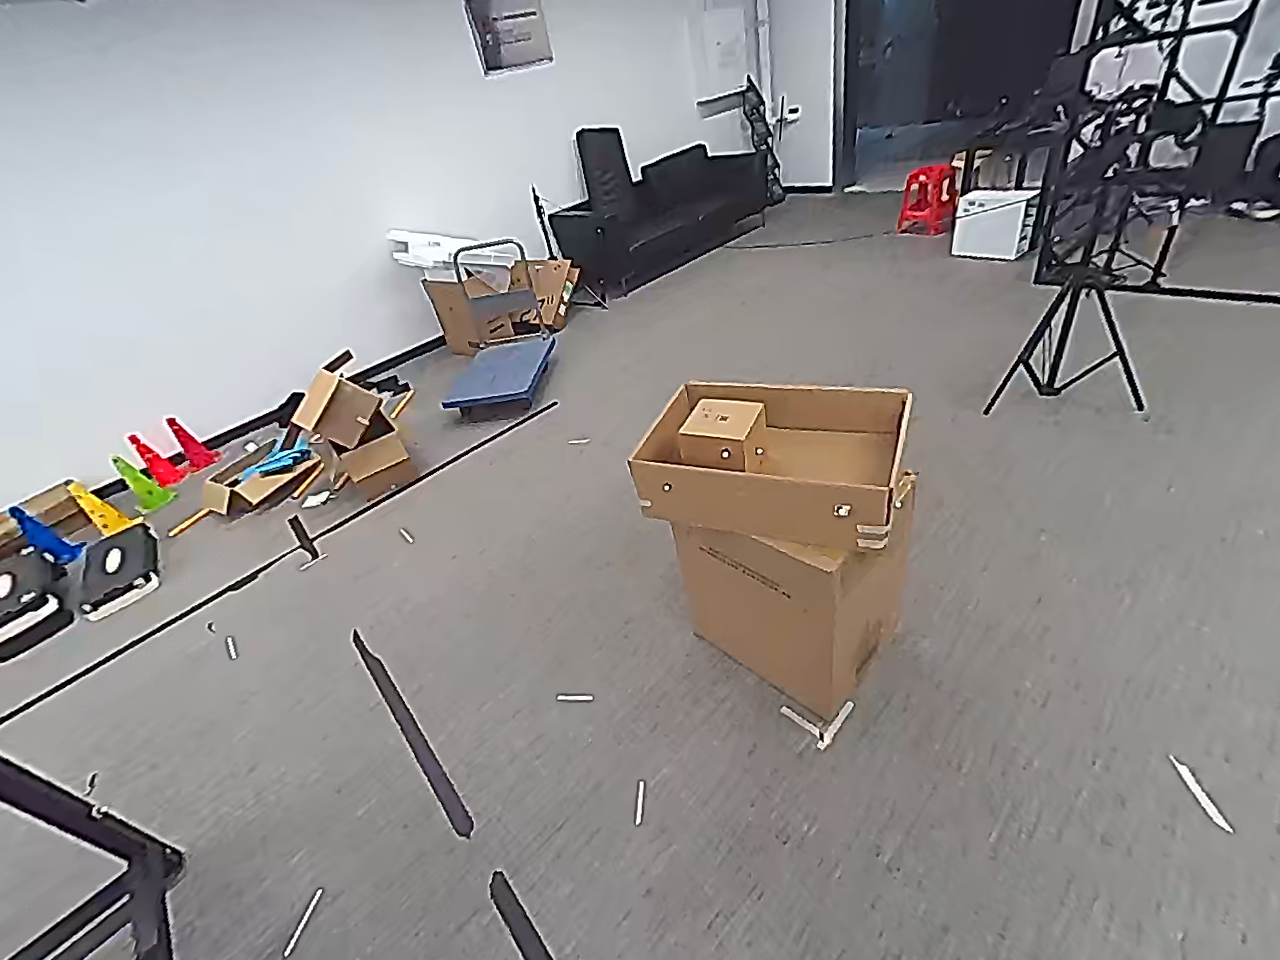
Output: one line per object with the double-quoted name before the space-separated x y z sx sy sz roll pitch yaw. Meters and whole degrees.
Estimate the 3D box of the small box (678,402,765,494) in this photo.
"small box" 0.220 -0.083 1.409 0.179 0.176 0.168 9 42 28
